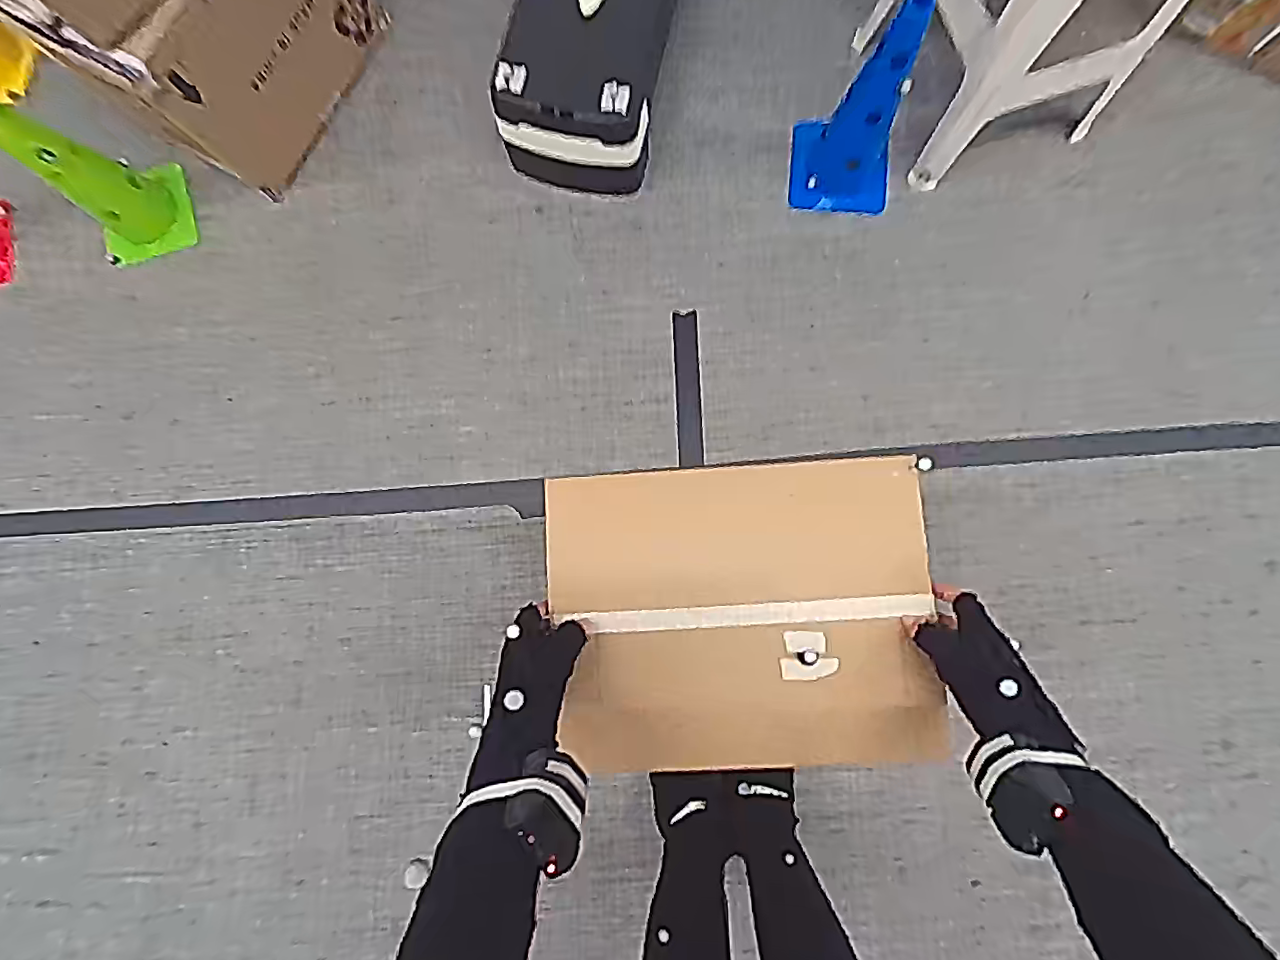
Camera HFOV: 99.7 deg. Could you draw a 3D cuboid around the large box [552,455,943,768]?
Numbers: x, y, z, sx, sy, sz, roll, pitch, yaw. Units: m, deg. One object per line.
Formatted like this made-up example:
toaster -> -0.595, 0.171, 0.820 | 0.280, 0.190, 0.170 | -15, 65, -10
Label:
large box -> 0.114, 0.160, 0.735 | 0.408, 0.320, 0.320 | -4, 83, 3
